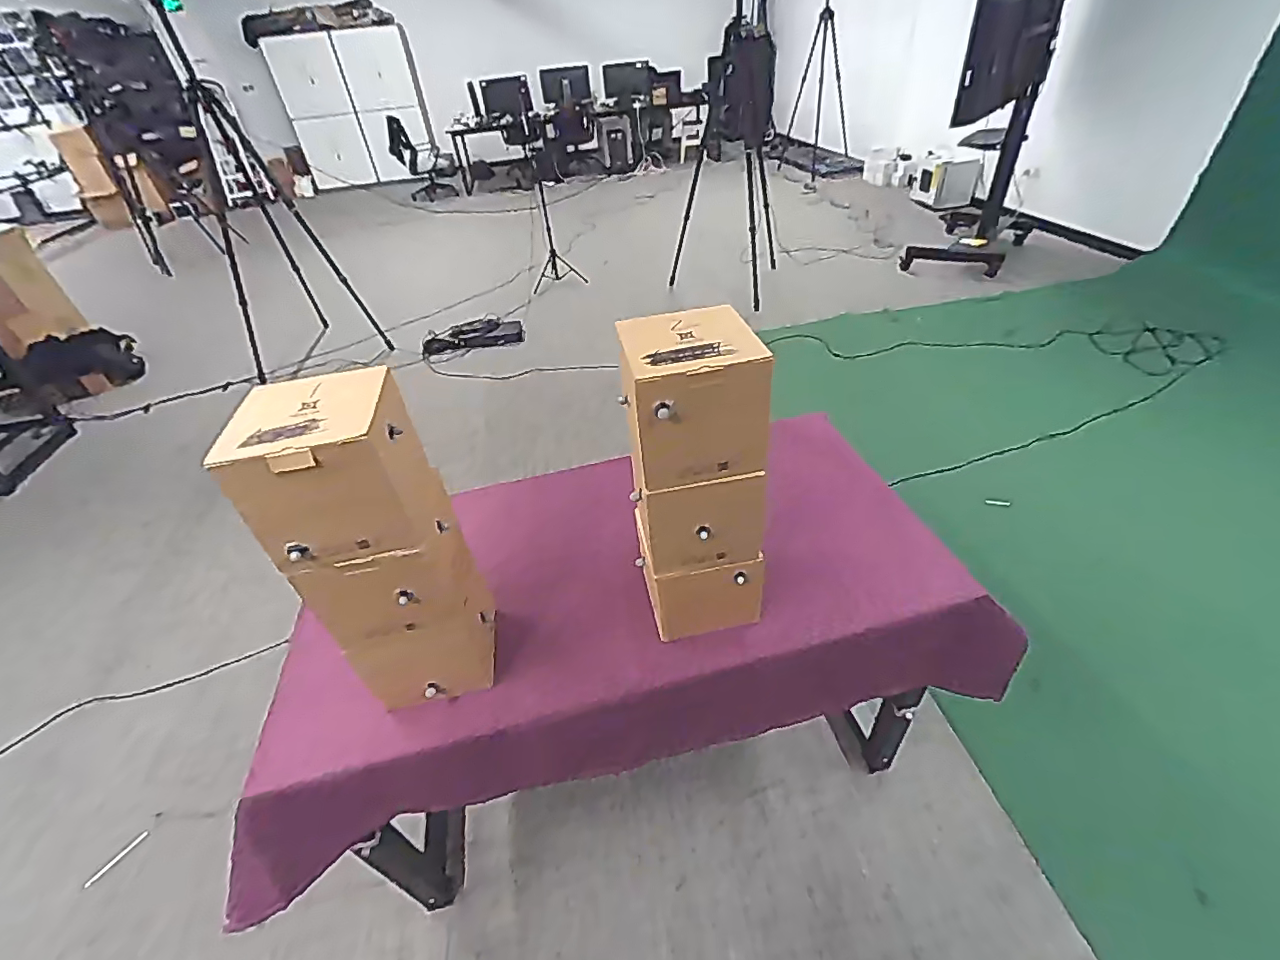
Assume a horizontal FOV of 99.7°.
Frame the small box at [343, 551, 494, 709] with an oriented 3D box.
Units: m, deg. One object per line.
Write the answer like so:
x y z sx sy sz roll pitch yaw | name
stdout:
-0.342 0.244 0.880 0.179 0.176 0.168 -11 39 -6 | small box

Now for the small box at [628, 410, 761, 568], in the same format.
0.081 0.019 0.830 0.168 0.176 0.179 -9 39 -3 | small box

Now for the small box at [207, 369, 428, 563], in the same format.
-0.380 -0.014 0.681 0.168 0.176 0.179 -12 38 -7 | small box

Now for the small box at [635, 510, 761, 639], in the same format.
0.097 0.149 0.930 0.179 0.176 0.168 -10 39 -5 | small box

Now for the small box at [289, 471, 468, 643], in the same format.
-0.357 0.115 0.781 0.168 0.176 0.179 -10 39 -4 | small box
